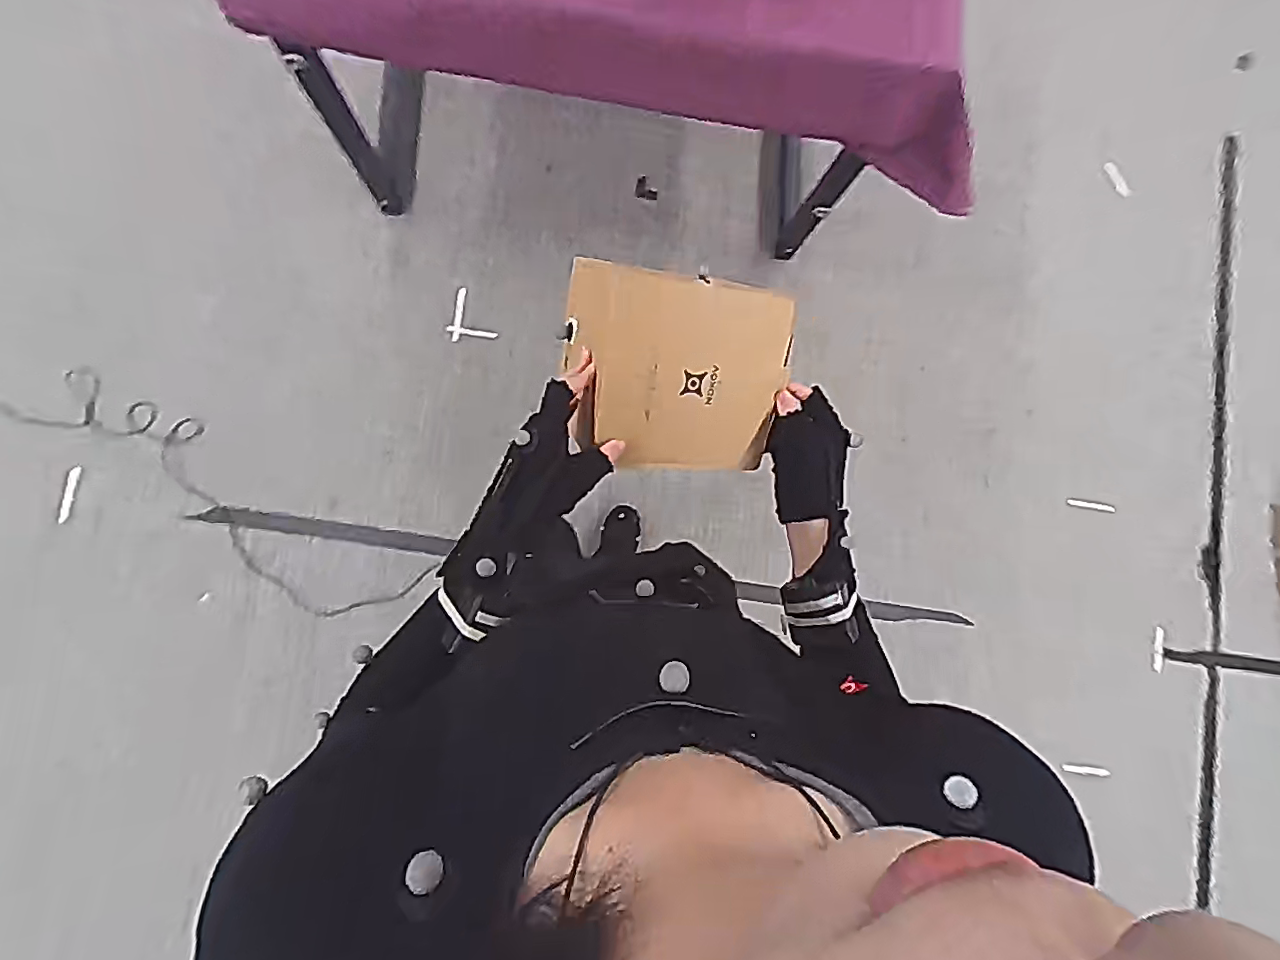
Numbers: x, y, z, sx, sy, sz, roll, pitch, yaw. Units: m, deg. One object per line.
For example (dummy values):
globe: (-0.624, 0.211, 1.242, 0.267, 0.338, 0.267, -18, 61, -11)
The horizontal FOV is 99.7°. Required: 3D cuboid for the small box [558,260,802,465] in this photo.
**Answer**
small box: (0.025, -0.121, 0.539, 0.179, 0.176, 0.168, -1, 112, -20)
